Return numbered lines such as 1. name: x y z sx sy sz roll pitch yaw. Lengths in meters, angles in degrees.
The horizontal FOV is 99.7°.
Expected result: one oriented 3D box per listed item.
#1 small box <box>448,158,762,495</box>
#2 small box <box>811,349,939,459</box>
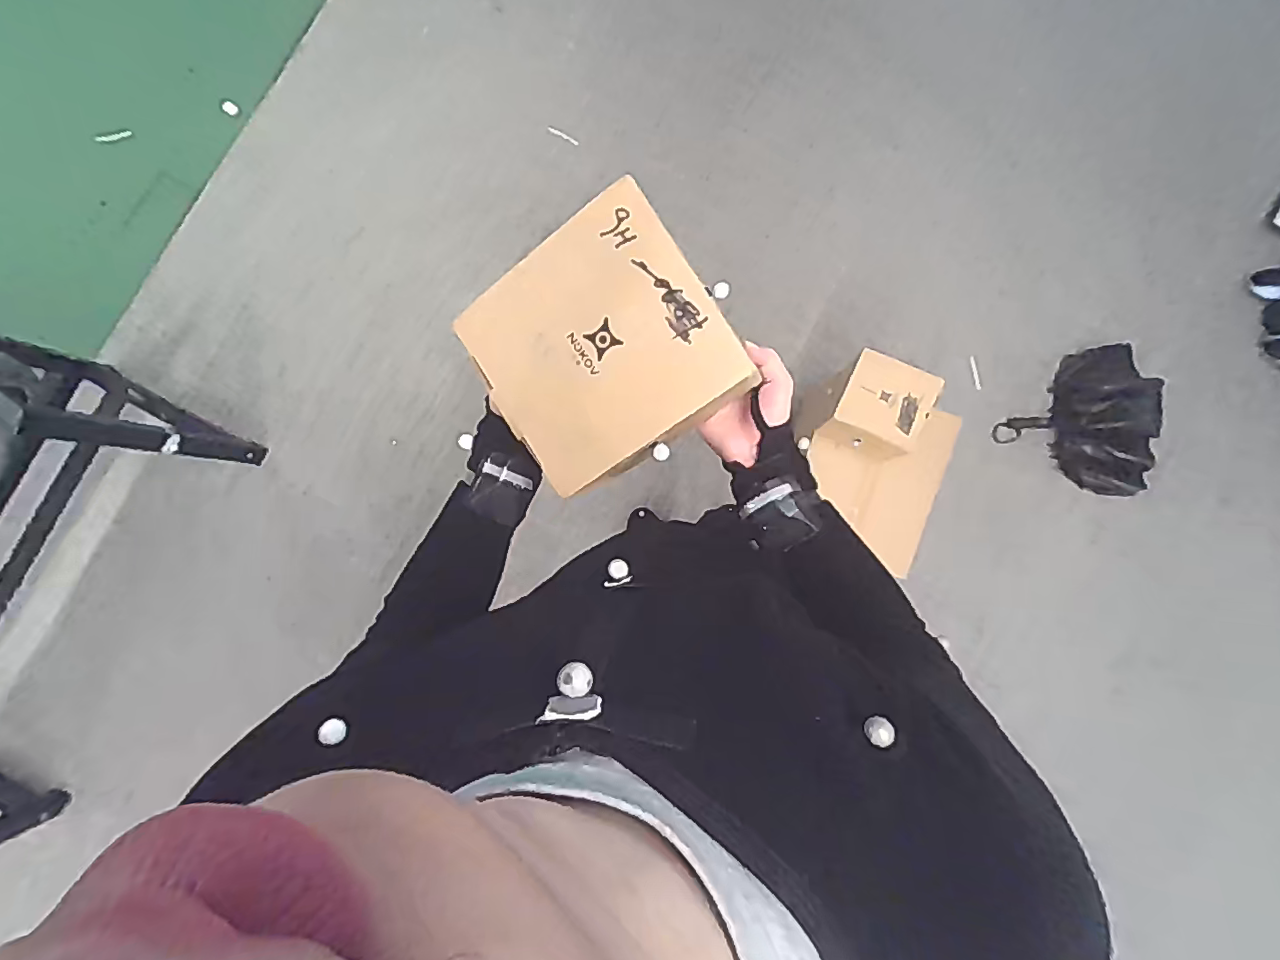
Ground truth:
1. small box: -0.012 -0.109 0.450 0.179 0.176 0.168 -34 89 14
2. small box: 0.499 -0.154 1.174 0.179 0.176 0.168 25 86 6
